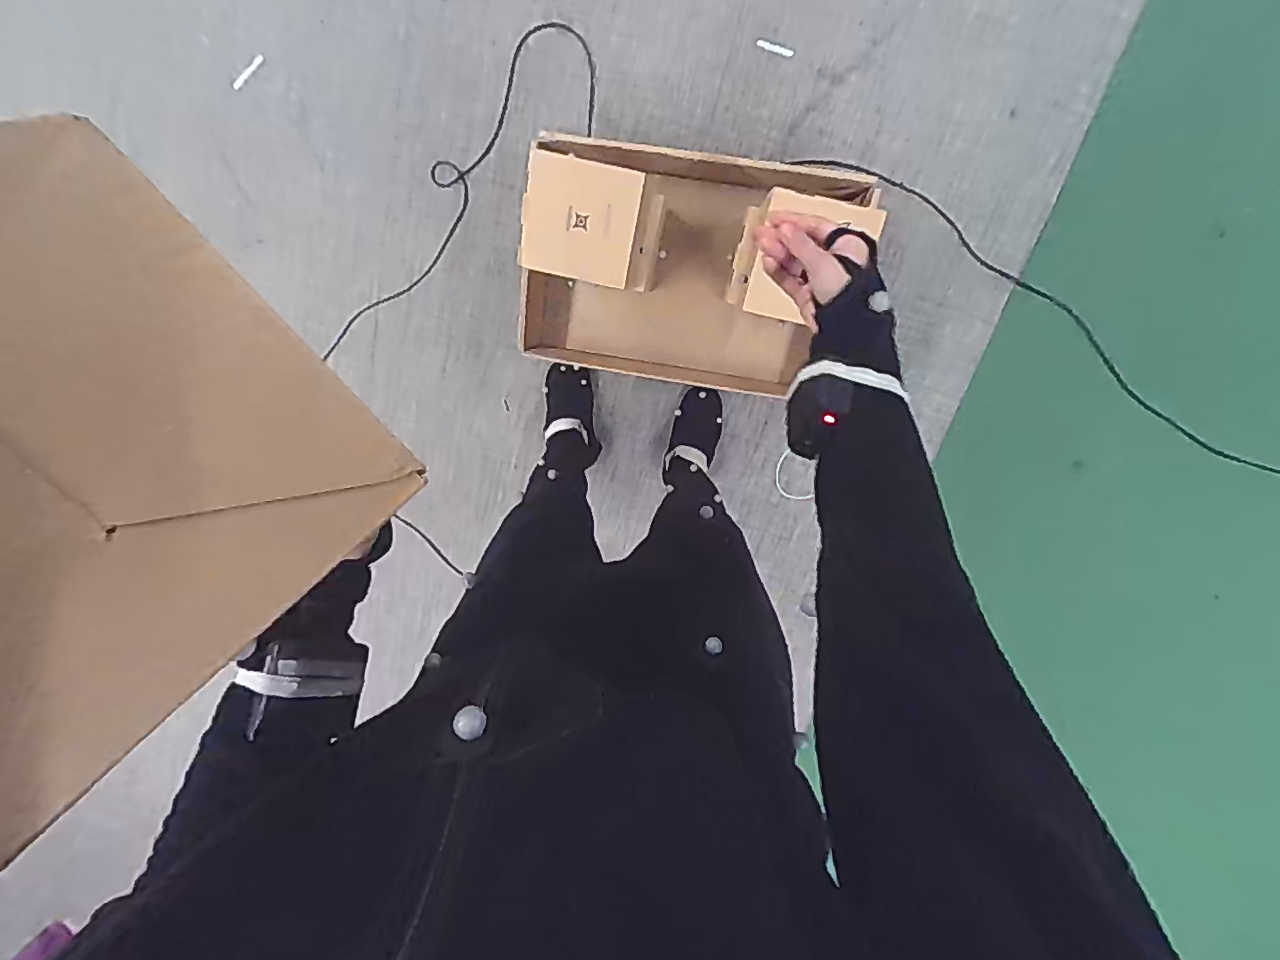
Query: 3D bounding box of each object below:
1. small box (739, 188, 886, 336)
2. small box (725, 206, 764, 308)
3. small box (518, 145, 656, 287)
[{"bbox_3d":[0.262,-0.343,0.872,0.168,0.176,0.179,14,109,1],"label":"small box"},{"bbox_3d":[0.265,-0.400,1.027,0.179,0.176,0.168,14,110,2],"label":"small box"},{"bbox_3d":[-0.080,-0.418,0.885,0.179,0.176,0.168,14,111,1],"label":"small box"}]
